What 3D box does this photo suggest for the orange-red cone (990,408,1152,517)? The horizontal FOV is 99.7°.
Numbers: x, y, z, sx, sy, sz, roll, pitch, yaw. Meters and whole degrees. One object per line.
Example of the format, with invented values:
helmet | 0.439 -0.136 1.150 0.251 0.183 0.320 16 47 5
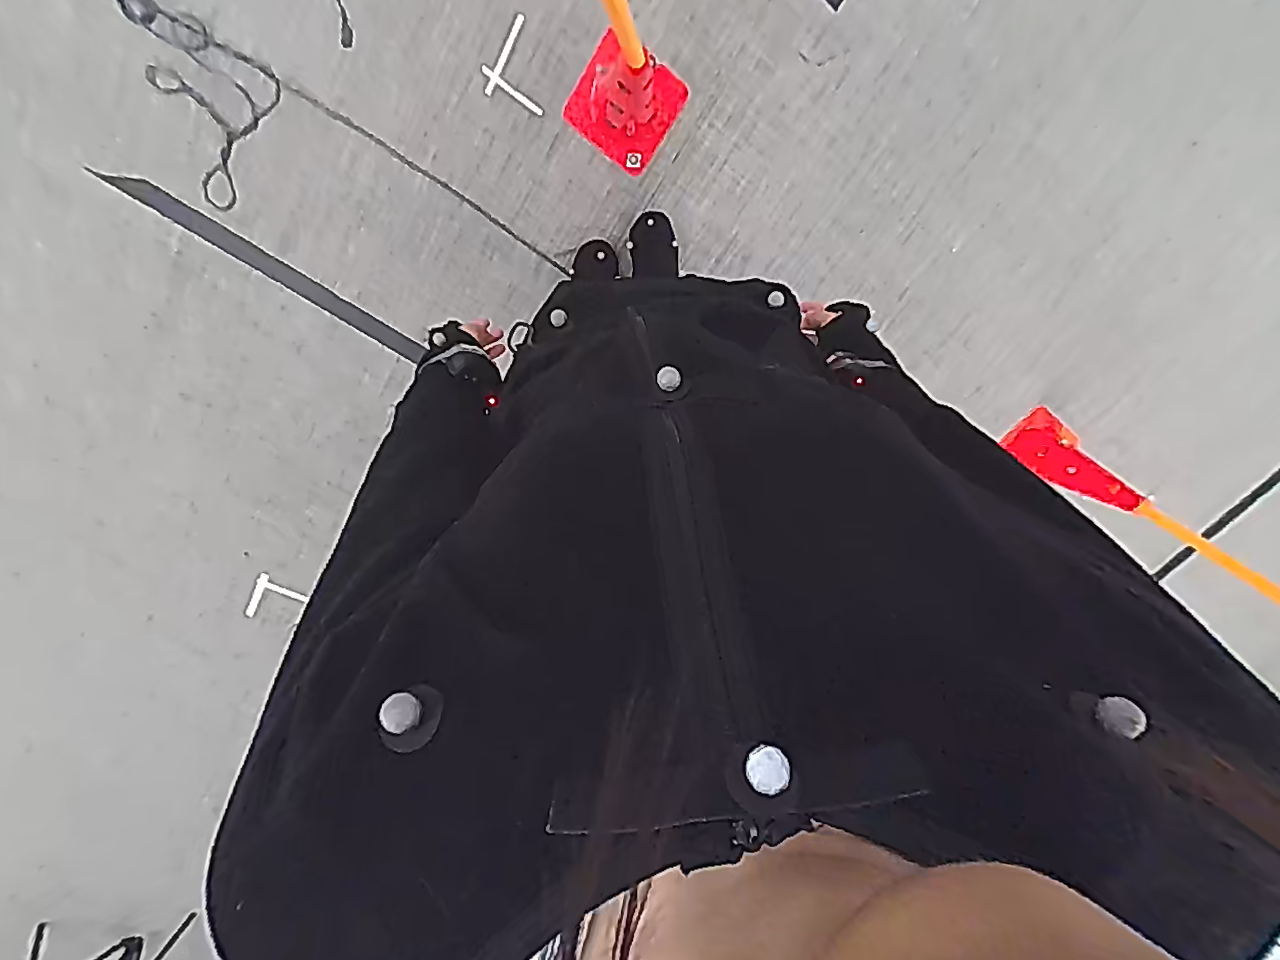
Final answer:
orange-red cone | 1.133 -0.010 1.383 0.199 0.360 0.198 34 109 -19
